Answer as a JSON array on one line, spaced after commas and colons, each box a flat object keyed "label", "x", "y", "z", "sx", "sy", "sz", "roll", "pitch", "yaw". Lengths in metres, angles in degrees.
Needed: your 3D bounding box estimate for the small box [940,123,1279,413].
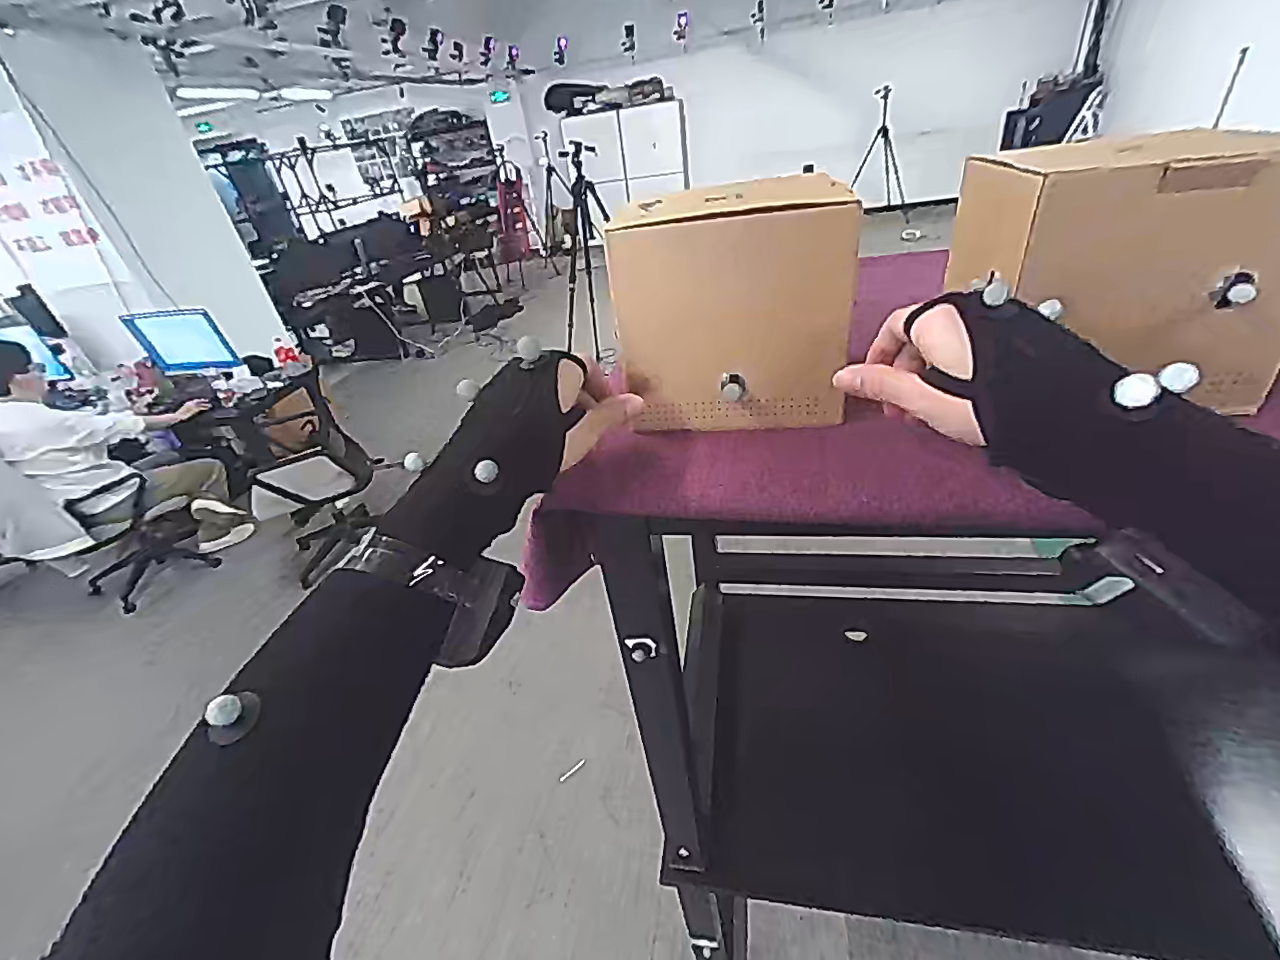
[{"label": "small box", "x": 0.349, "y": -0.159, "z": 0.415, "sx": 0.168, "sy": 0.176, "sz": 0.179, "roll": 1, "pitch": 32, "yaw": 14}]
